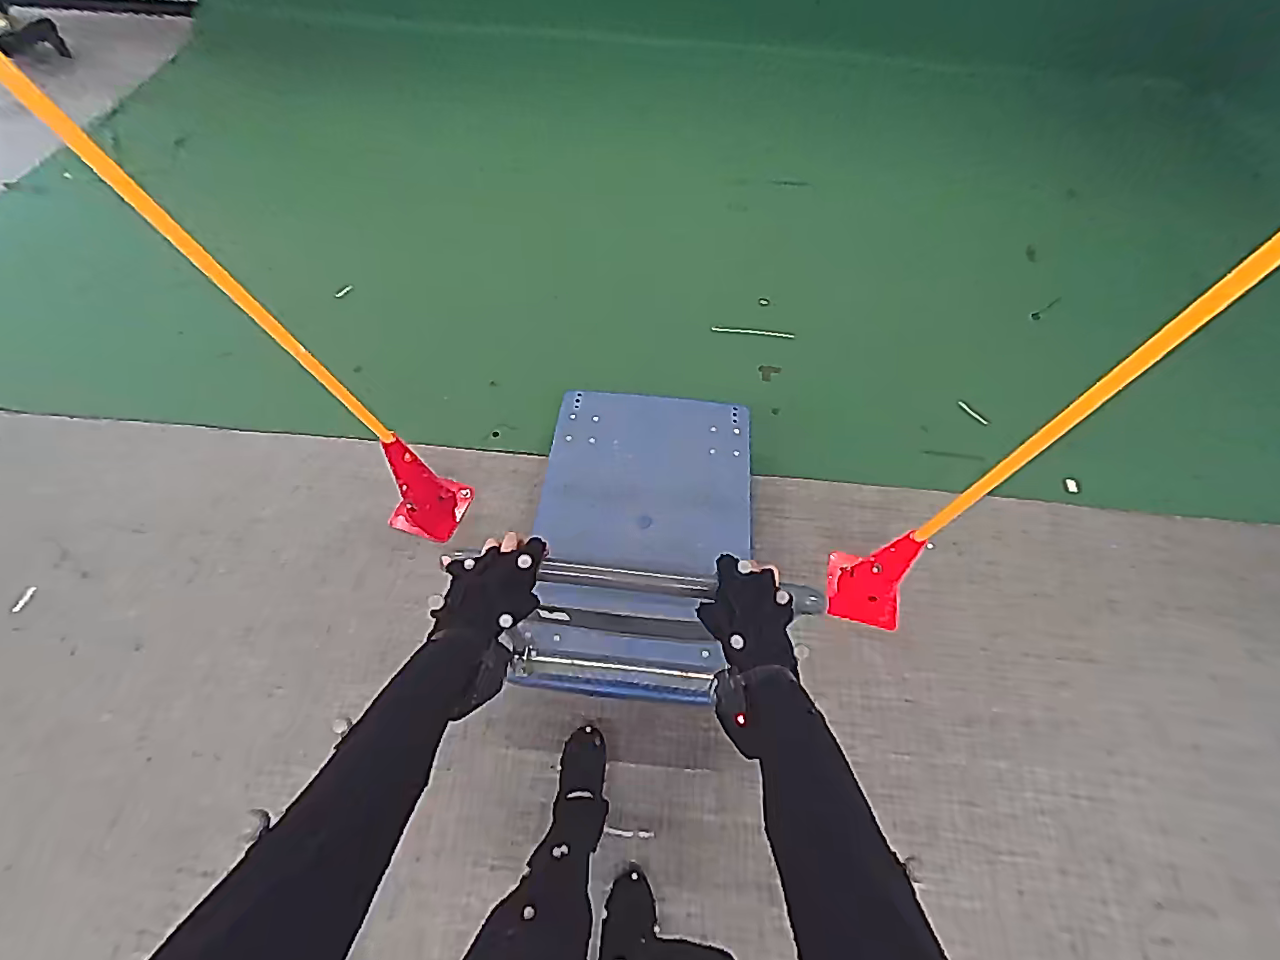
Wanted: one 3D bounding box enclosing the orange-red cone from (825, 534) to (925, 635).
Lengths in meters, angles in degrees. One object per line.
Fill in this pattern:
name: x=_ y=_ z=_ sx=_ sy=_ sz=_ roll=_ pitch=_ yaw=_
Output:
orange-red cone: x=0.636 y=0.235 z=1.391 sx=0.198 sy=0.360 sz=0.199 roll=14 pitch=59 yaw=8
